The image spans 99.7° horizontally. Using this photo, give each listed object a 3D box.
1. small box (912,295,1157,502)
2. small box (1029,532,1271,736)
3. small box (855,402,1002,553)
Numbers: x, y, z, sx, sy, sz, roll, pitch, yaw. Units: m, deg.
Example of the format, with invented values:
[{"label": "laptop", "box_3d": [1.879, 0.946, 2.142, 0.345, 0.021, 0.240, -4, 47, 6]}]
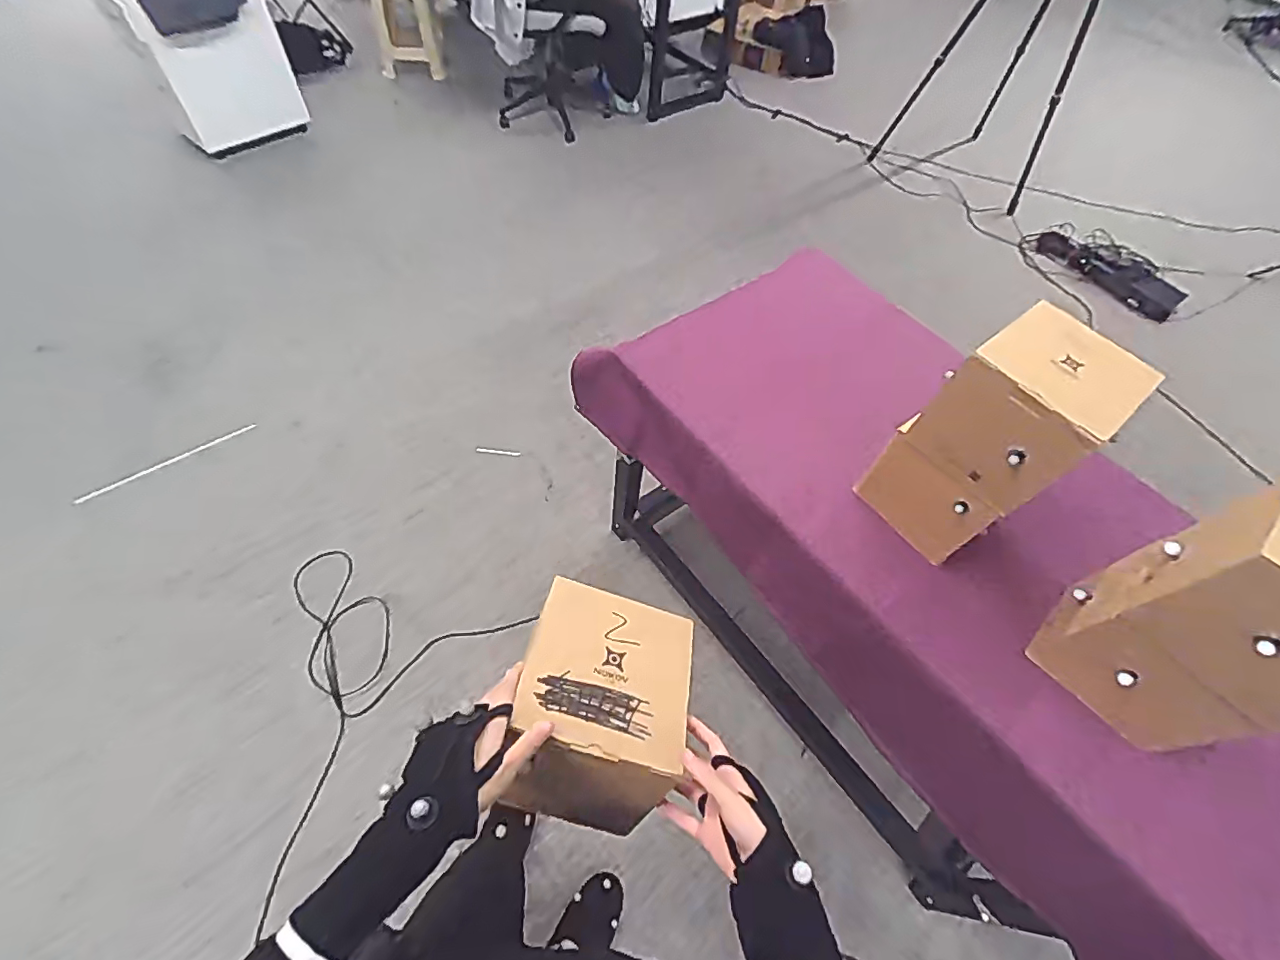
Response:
[{"label": "small box", "box_3d": [0.494, -0.101, 0.708, 0.179, 0.176, 0.168, -32, 67, -24]}, {"label": "small box", "box_3d": [0.673, 0.208, 0.715, 0.168, 0.176, 0.179, -34, 66, -24]}, {"label": "small box", "box_3d": [0.476, -0.019, 0.847, 0.168, 0.176, 0.179, -31, 66, -23]}]
